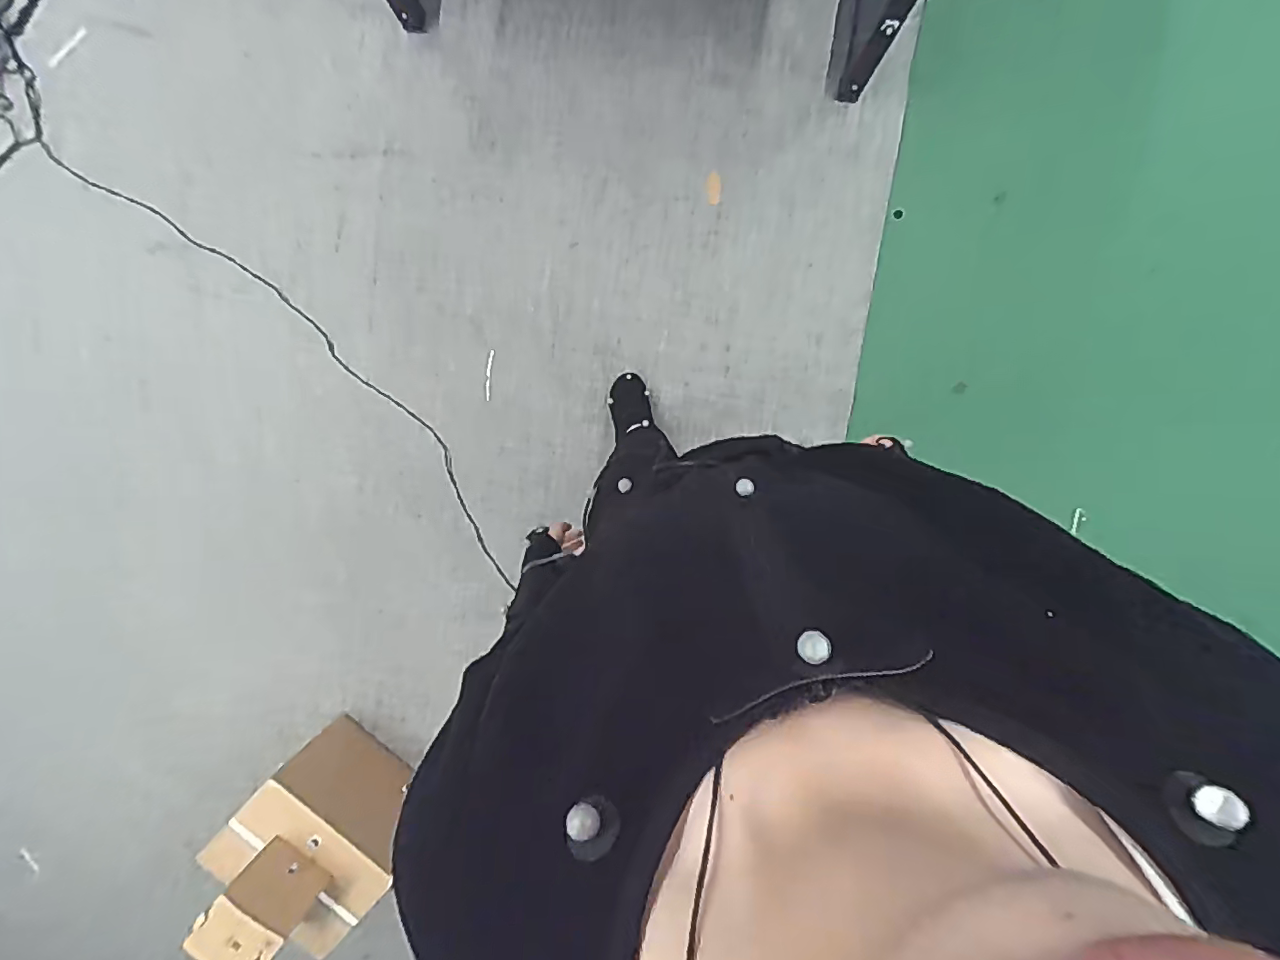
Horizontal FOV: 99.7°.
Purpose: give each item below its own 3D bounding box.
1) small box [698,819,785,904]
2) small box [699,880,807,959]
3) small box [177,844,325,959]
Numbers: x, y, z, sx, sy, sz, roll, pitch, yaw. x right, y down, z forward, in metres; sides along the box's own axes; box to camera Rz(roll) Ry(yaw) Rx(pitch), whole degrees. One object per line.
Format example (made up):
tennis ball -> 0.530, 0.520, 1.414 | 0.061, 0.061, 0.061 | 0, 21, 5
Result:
small box -> 0.217, 0.883, 1.193 | 0.168, 0.176, 0.179 | -1, 96, 2
small box -> 0.209, 0.907, 1.033 | 0.179, 0.176, 0.168 | 1, 96, 2
small box -> -0.873, 0.979, 1.230 | 0.179, 0.176, 0.168 | 38, 98, -2
